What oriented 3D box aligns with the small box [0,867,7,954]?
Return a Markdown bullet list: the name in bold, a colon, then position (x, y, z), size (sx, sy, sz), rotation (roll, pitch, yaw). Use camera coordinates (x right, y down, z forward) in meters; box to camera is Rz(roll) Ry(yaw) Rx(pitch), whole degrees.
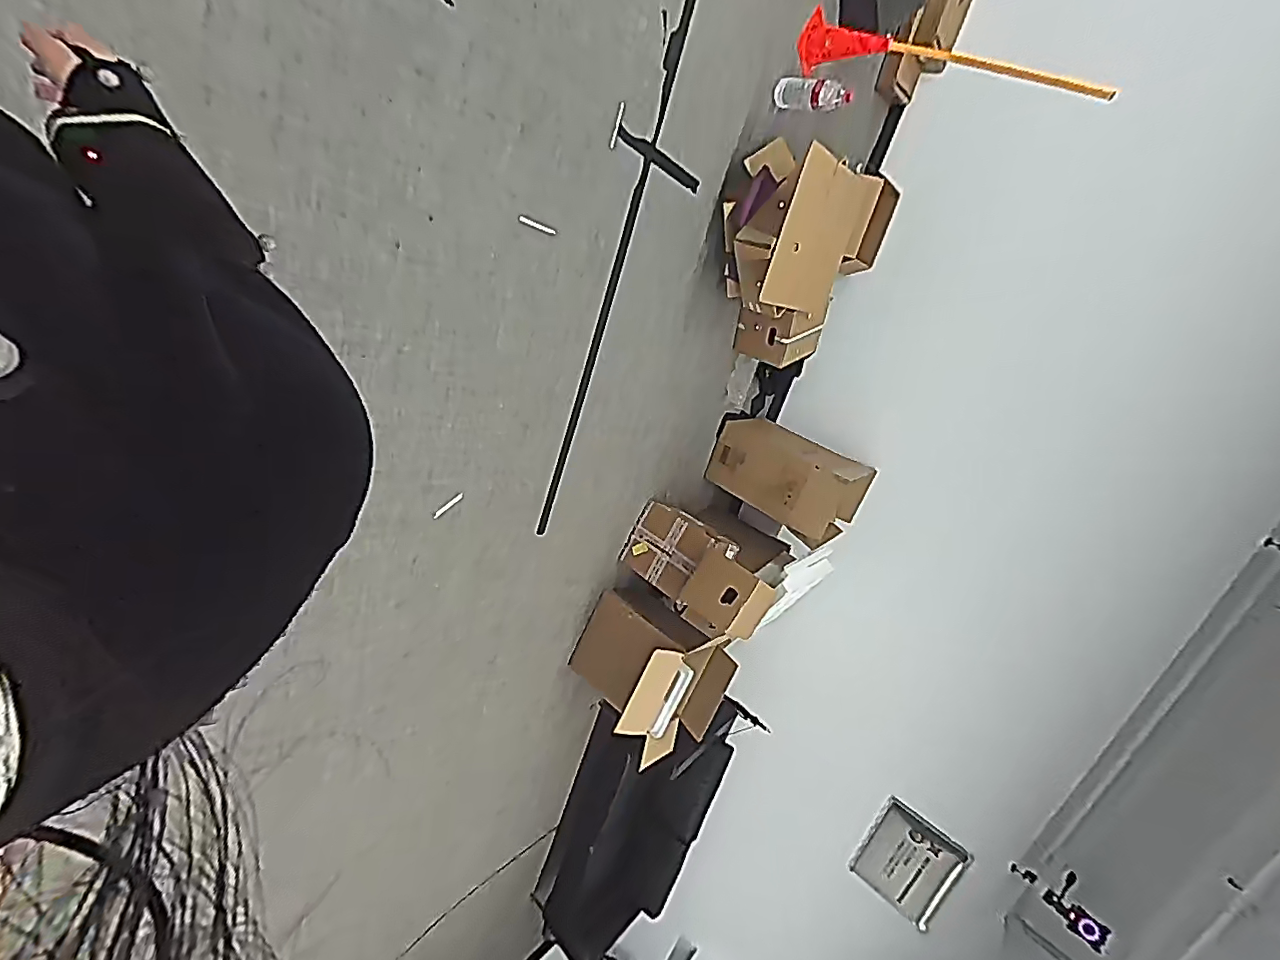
- **small box**: position (-0.973, 0.599, 0.708), size (0.168, 0.176, 0.179), rotation (2, 114, -55)
